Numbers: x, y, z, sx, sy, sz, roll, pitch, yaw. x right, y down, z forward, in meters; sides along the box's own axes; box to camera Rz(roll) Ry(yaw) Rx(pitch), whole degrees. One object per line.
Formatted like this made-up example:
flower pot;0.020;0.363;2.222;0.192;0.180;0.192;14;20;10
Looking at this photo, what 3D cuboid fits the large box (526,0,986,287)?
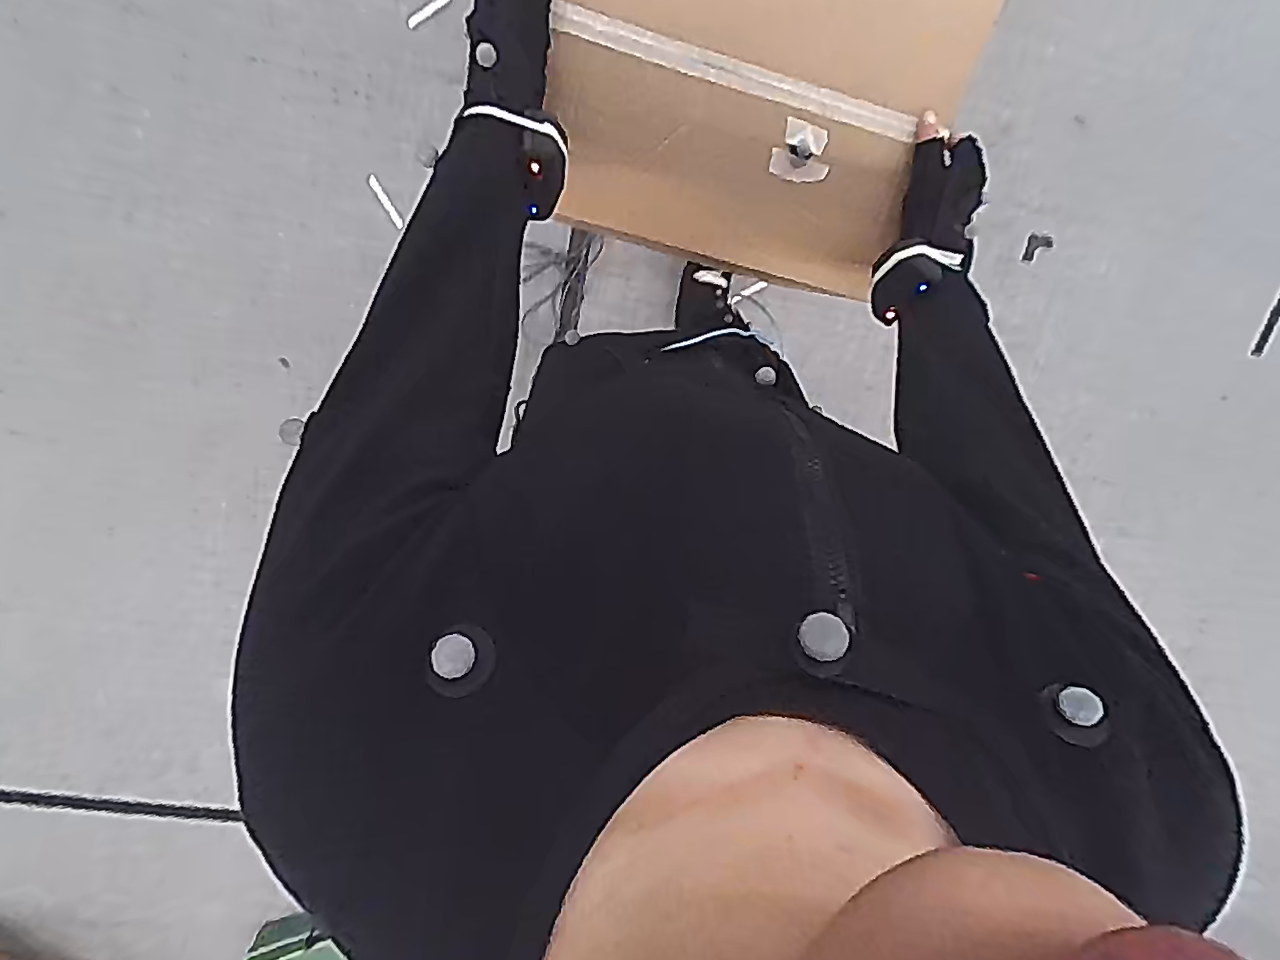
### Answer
large box;0.098;-0.447;0.660;0.408;0.320;0.320;12;113;-9
